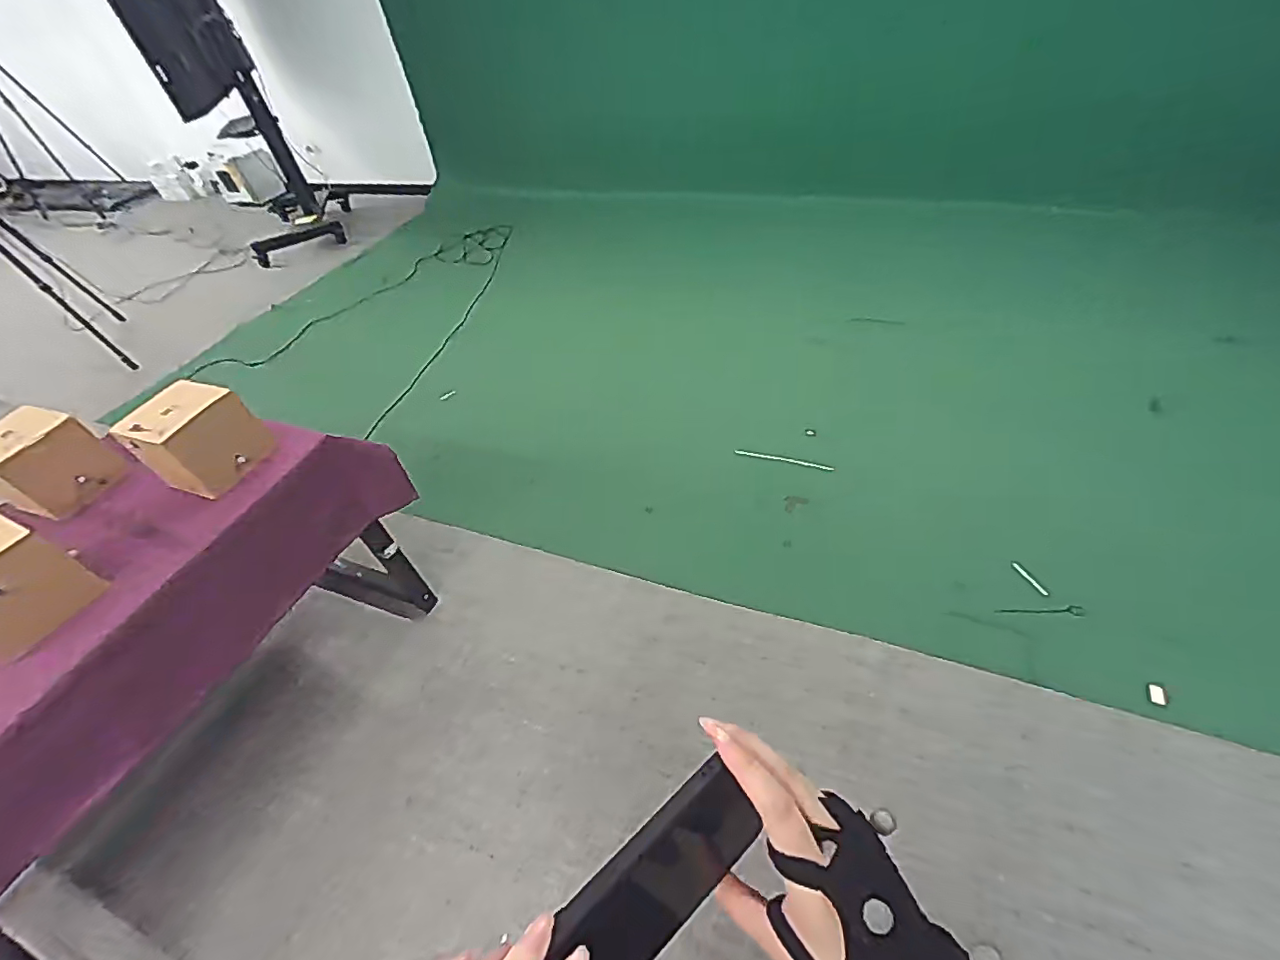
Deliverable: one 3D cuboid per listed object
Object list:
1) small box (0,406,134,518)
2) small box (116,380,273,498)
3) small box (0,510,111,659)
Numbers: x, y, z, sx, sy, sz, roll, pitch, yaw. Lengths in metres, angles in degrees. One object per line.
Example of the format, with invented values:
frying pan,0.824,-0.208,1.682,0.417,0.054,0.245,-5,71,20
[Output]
small box,-1.287,-0.037,1.179,0.179,0.176,0.168,11,50,18
small box,-0.945,-0.089,1.173,0.168,0.176,0.179,11,50,19
small box,-1.111,0.183,0.946,0.168,0.176,0.179,15,50,22
